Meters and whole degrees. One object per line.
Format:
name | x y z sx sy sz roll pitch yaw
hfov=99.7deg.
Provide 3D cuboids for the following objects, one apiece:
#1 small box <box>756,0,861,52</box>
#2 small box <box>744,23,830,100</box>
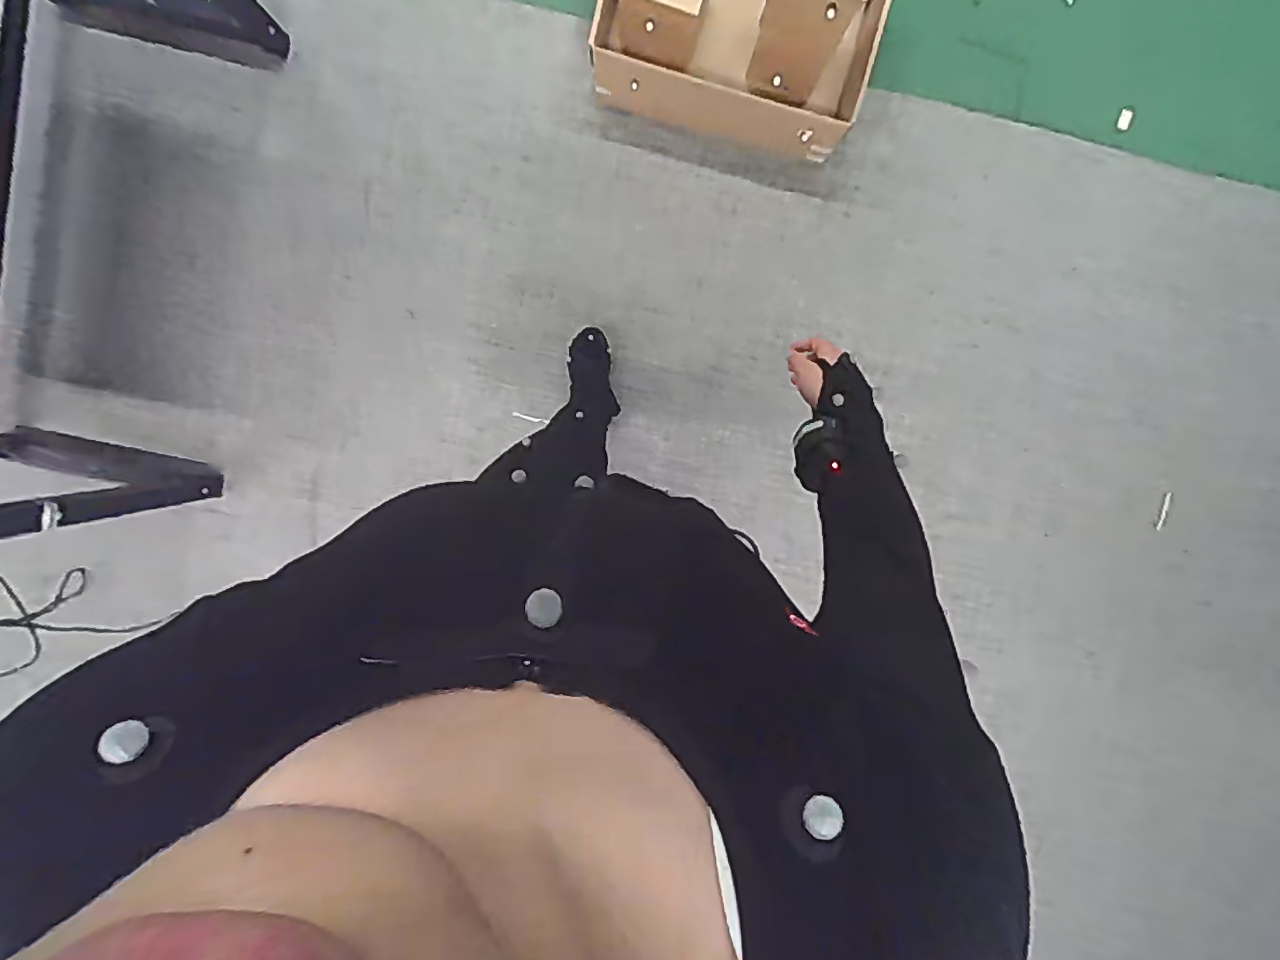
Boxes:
small box | 0.353 -0.995 1.060 0.179 0.176 0.168 22 96 -3
small box | 0.350 -1.020 1.222 0.168 0.176 0.179 21 97 -3
